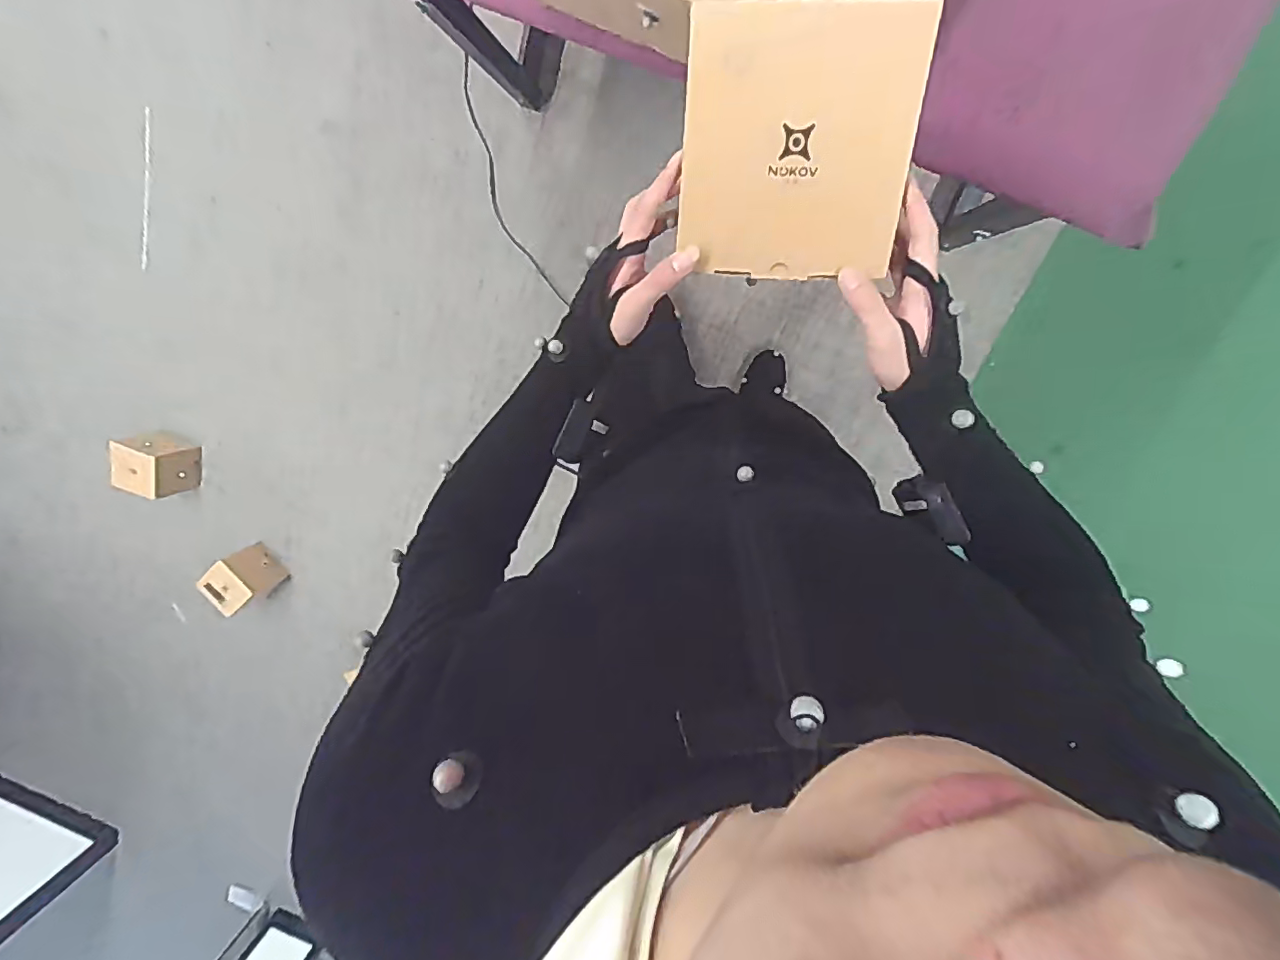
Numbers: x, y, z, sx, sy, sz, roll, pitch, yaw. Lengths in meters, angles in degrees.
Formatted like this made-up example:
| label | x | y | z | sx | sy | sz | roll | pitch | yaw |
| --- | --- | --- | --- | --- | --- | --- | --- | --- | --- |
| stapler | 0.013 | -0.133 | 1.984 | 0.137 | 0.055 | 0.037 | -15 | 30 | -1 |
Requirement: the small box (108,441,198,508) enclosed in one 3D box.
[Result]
| label | x | y | z | sx | sy | sz | roll | pitch | yaw |
| --- | --- | --- | --- | --- | --- | --- | --- | --- | --- |
| small box | -1.695 | -0.027 | 1.889 | 0.179 | 0.176 | 0.168 | 19 | 107 | 5 |

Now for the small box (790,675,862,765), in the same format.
| label | x | y | z | sx | sy | sz | roll | pitch | yaw |
| --- | --- | --- | --- | --- | --- | --- | --- | --- | --- |
| small box | 0.574 | 0.745 | 1.697 | 0.168 | 0.176 | 0.179 | 12 | 107 | 7 |
